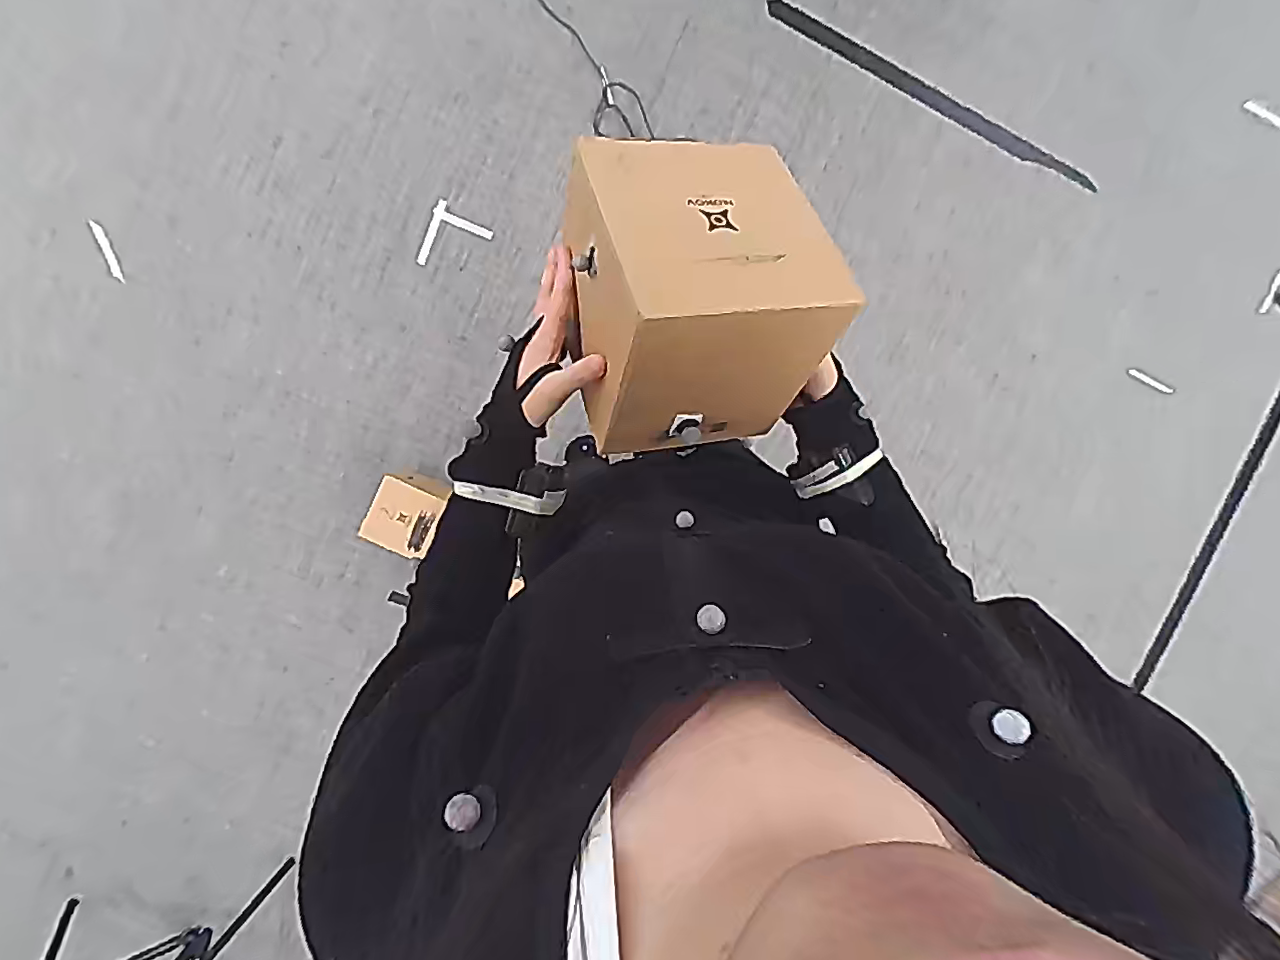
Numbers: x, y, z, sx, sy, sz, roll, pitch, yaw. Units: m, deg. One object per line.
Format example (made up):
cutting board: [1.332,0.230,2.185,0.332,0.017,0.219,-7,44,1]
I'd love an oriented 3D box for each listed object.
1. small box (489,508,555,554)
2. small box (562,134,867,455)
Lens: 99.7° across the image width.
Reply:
small box: [-0.330,0.192,1.406,0.168,0.176,0.179,27,92,-7]
small box: [0.037,-0.143,0.440,0.168,0.176,0.179,-10,65,-17]
